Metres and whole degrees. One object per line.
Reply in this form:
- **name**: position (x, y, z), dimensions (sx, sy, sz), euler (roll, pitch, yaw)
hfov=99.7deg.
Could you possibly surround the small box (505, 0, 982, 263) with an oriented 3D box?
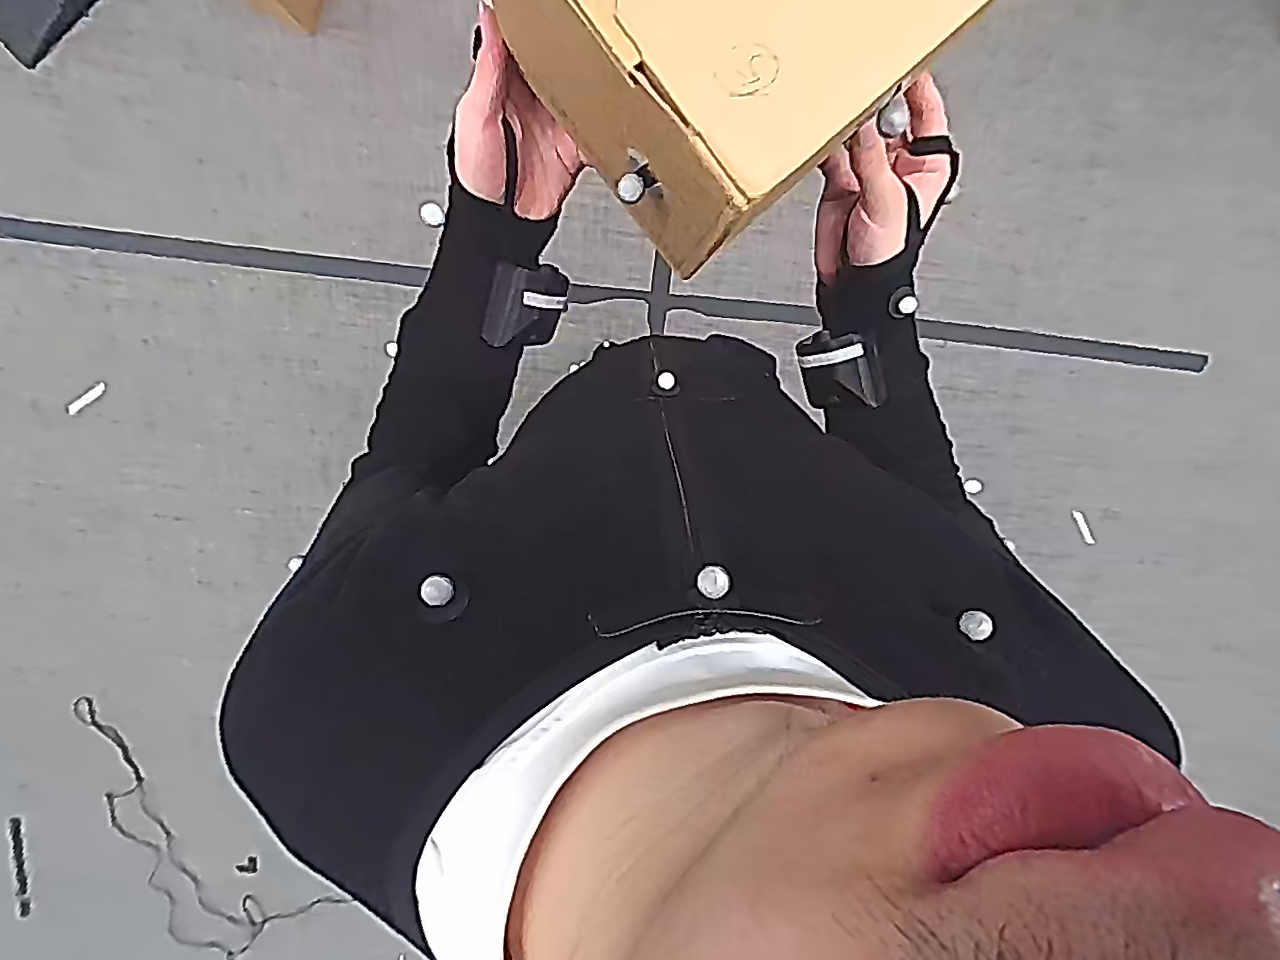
- **small box**: position (0.044, -0.232, 0.256), dimensions (0.179, 0.176, 0.168), euler (-41, 102, 5)
